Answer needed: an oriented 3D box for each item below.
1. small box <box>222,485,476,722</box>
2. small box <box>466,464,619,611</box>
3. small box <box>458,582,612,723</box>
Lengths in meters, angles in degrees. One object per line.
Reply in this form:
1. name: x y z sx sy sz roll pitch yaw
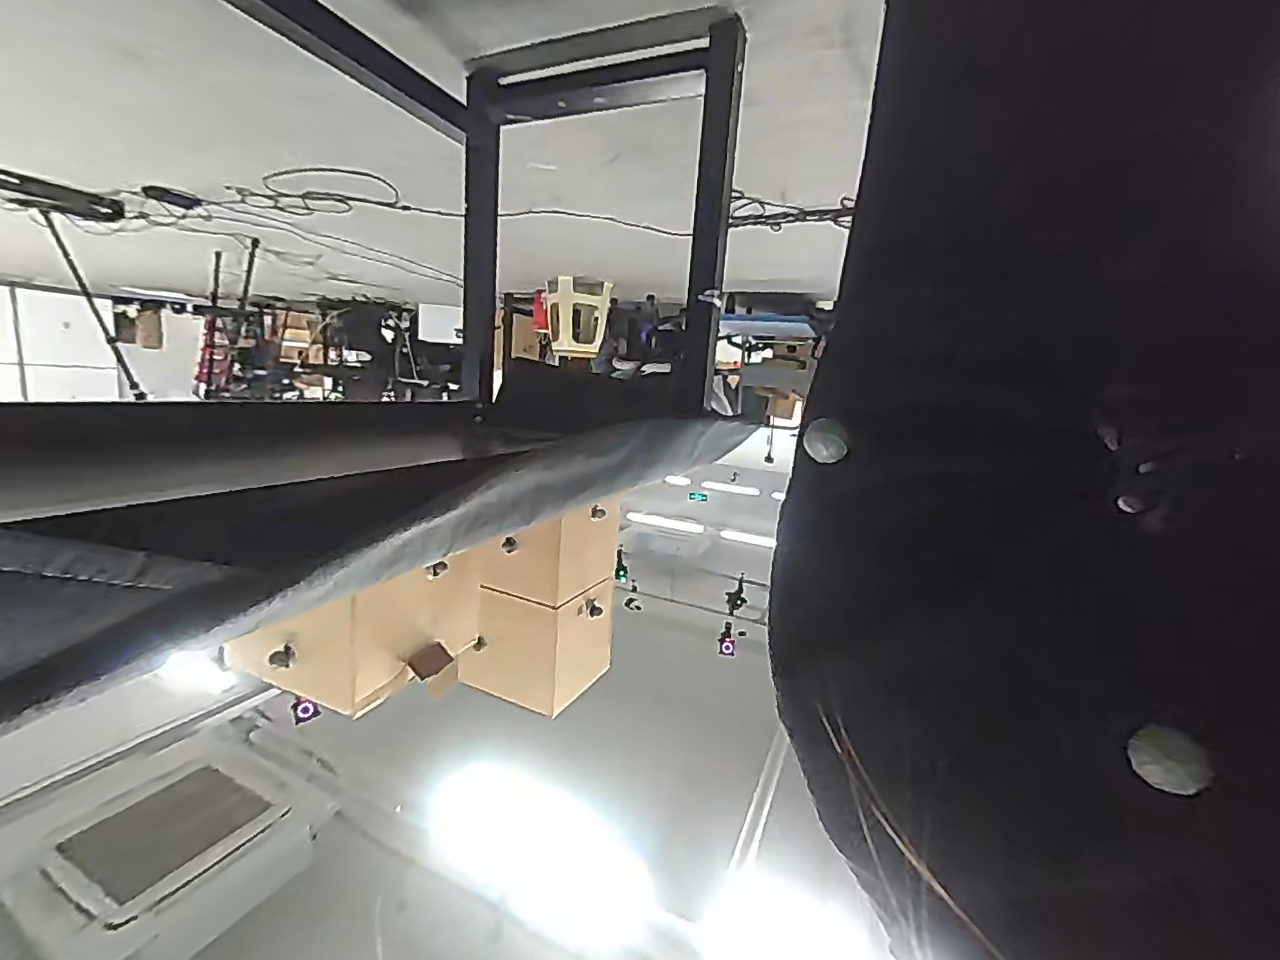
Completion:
1. small box: -0.283 0.104 0.548 0.179 0.176 0.168 8 -170 22
2. small box: -0.144 0.071 0.804 0.179 0.176 0.168 9 -169 25
3. small box: -0.156 0.231 0.832 0.179 0.176 0.168 8 -168 26
